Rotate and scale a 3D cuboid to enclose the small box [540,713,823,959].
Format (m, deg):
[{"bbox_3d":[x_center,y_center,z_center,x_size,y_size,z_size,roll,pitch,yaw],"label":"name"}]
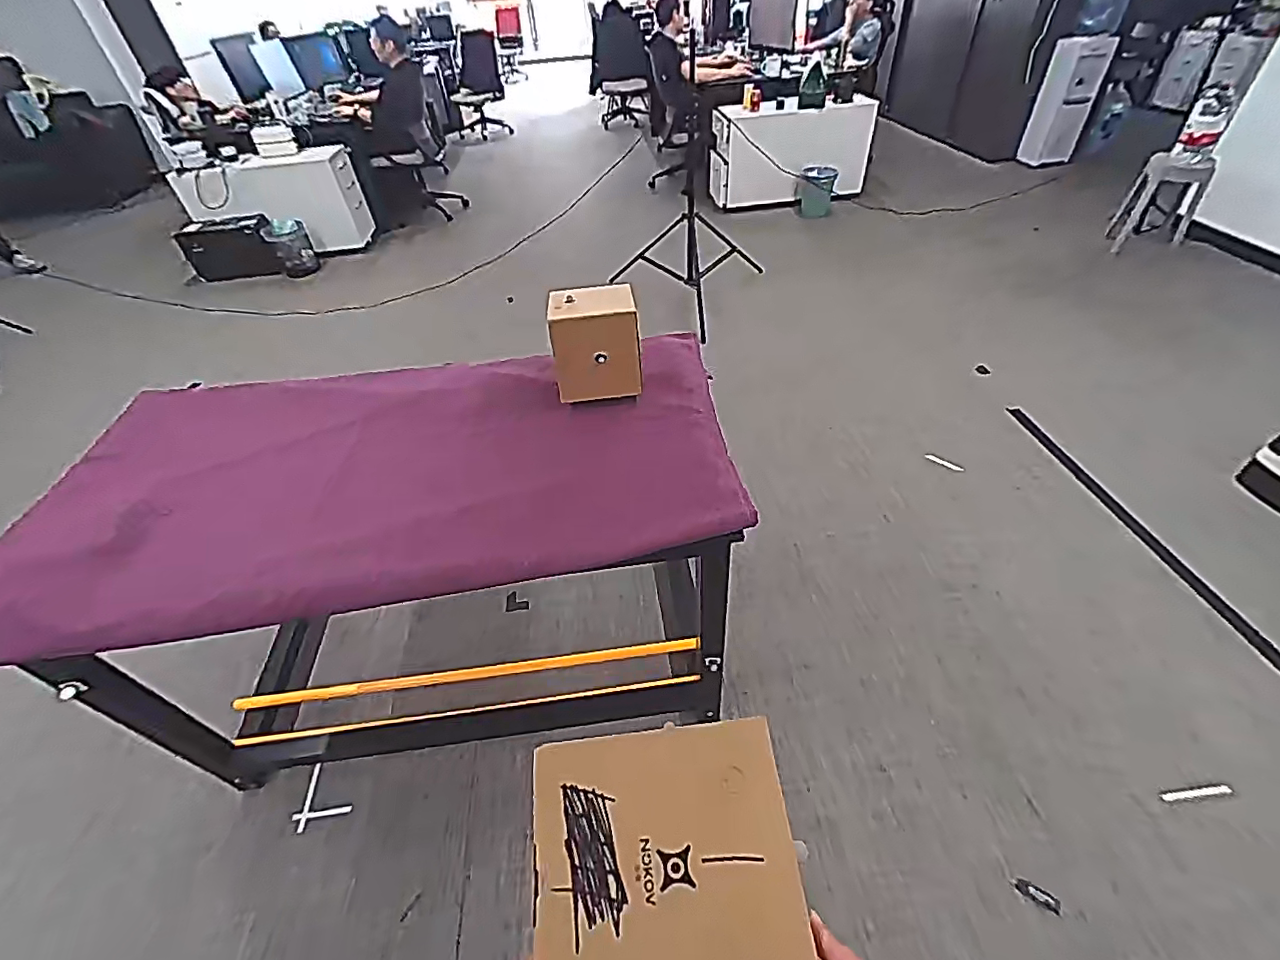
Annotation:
[{"bbox_3d":[0.031,0.293,0.423,0.179,0.176,0.168,-10,57,4],"label":"small box"}]
